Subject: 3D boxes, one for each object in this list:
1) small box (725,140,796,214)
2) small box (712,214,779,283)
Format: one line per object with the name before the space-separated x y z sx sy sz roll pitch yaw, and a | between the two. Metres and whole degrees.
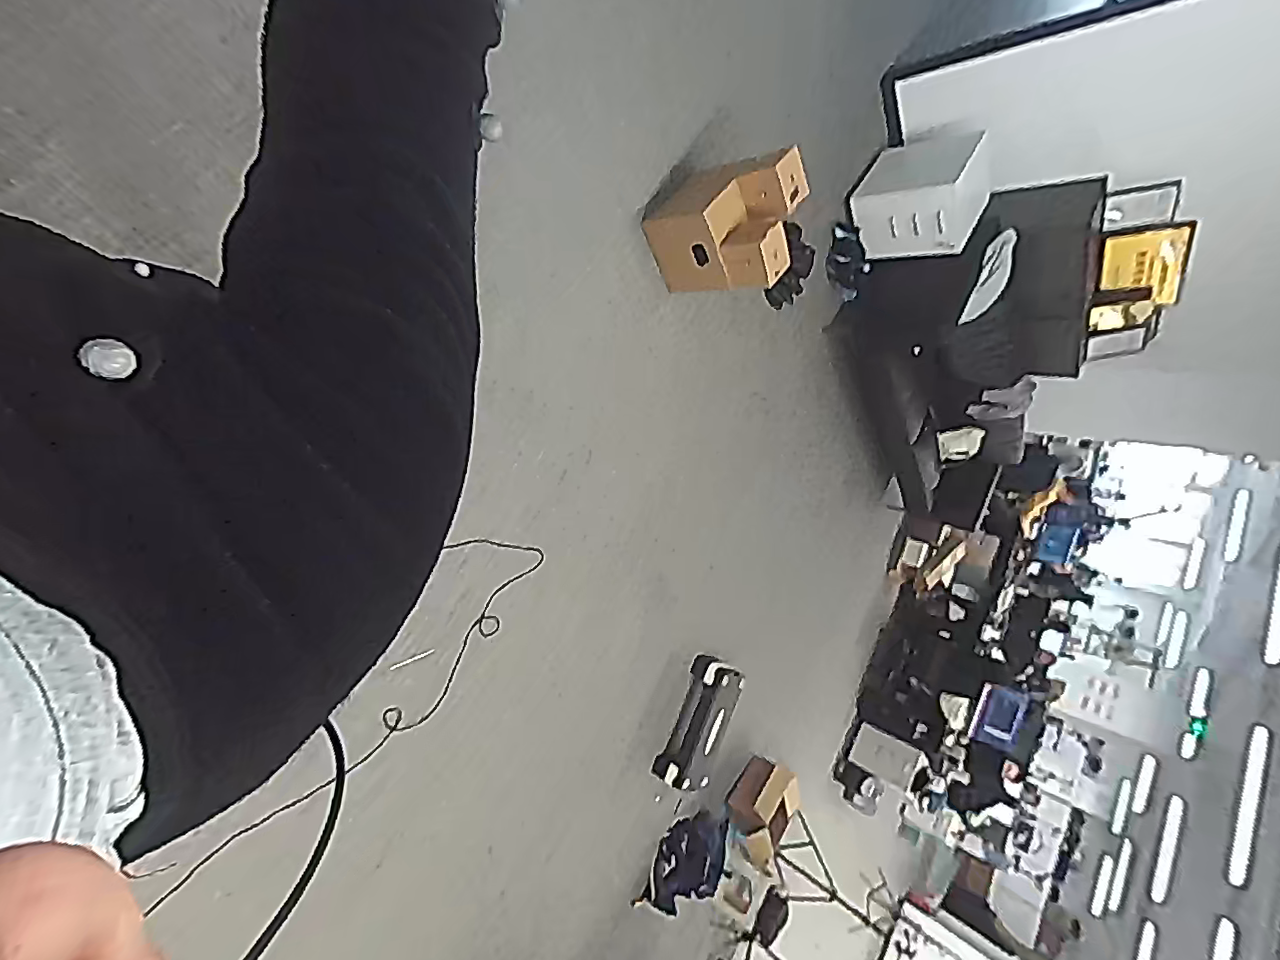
small box | 0.443 -1.107 1.990 0.168 0.176 0.179 -53 131 -25
small box | 0.388 -0.850 1.998 0.168 0.176 0.179 -54 135 -25
